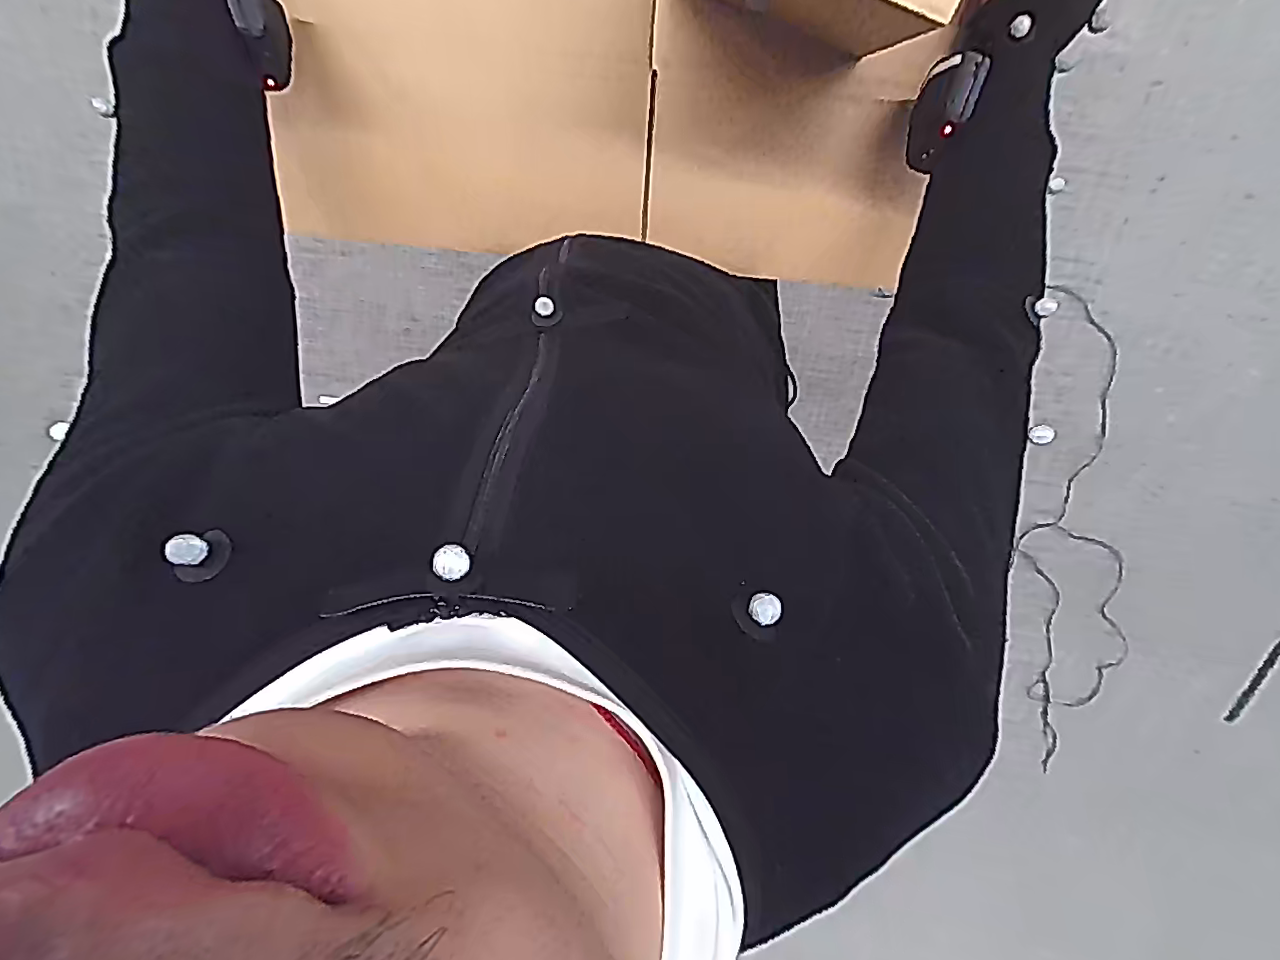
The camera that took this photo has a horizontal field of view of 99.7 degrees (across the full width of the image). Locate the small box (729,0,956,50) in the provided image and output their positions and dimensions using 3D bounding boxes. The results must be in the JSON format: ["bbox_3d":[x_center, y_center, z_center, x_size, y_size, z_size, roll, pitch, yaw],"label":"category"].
[{"bbox_3d":[0.125,-0.393,0.326,0.179,0.176,0.168,18,123,-6],"label":"small box"}]
